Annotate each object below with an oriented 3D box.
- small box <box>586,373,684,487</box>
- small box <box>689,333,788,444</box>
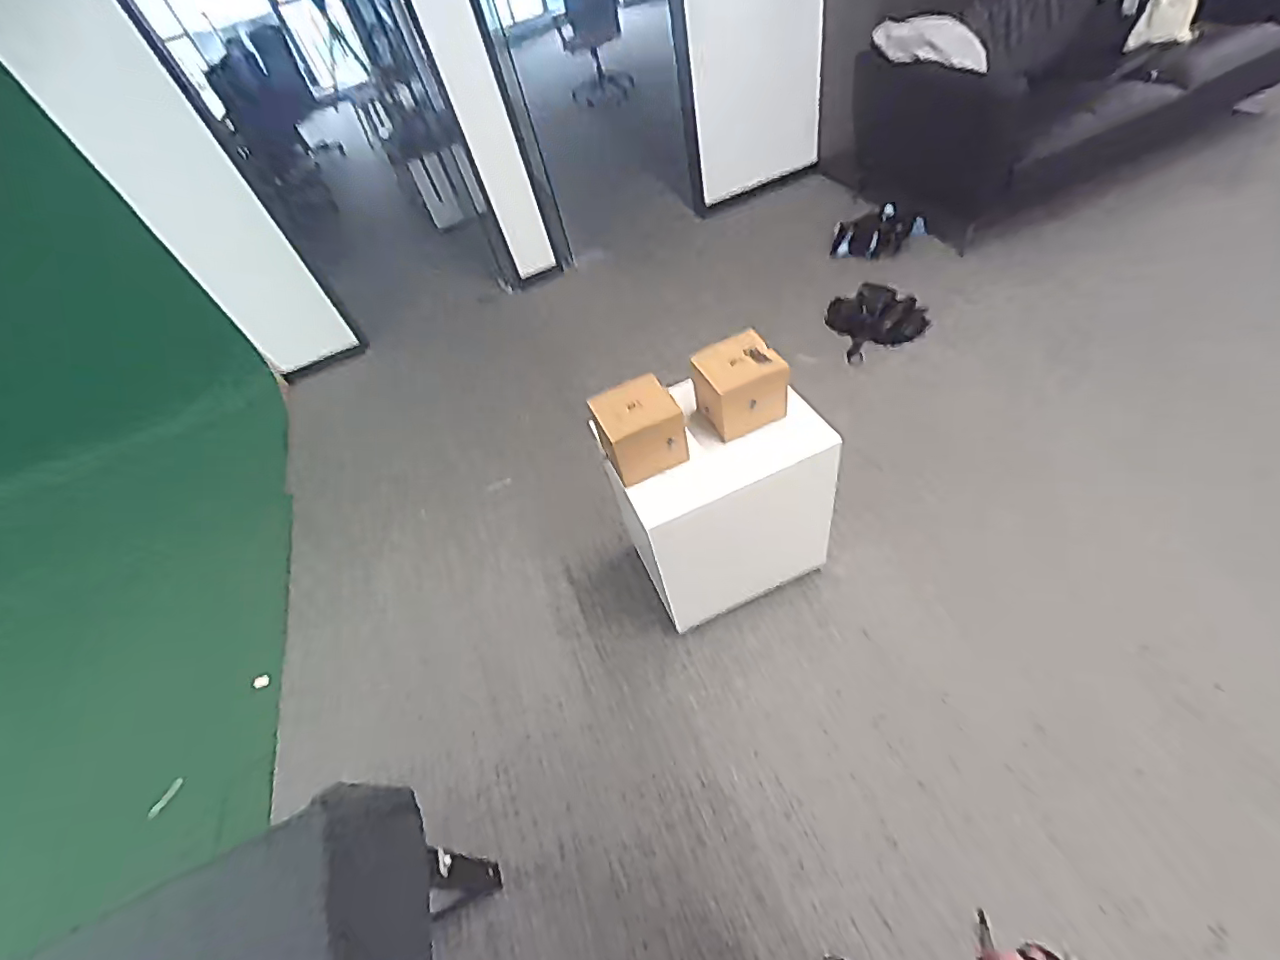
[{"bbox_3d":[-0.006,-0.115,1.270,0.179,0.176,0.168,-24,48,-9],"label":"small box"},{"bbox_3d":[0.236,-0.219,1.307,0.179,0.176,0.168,-23,49,-7],"label":"small box"}]
